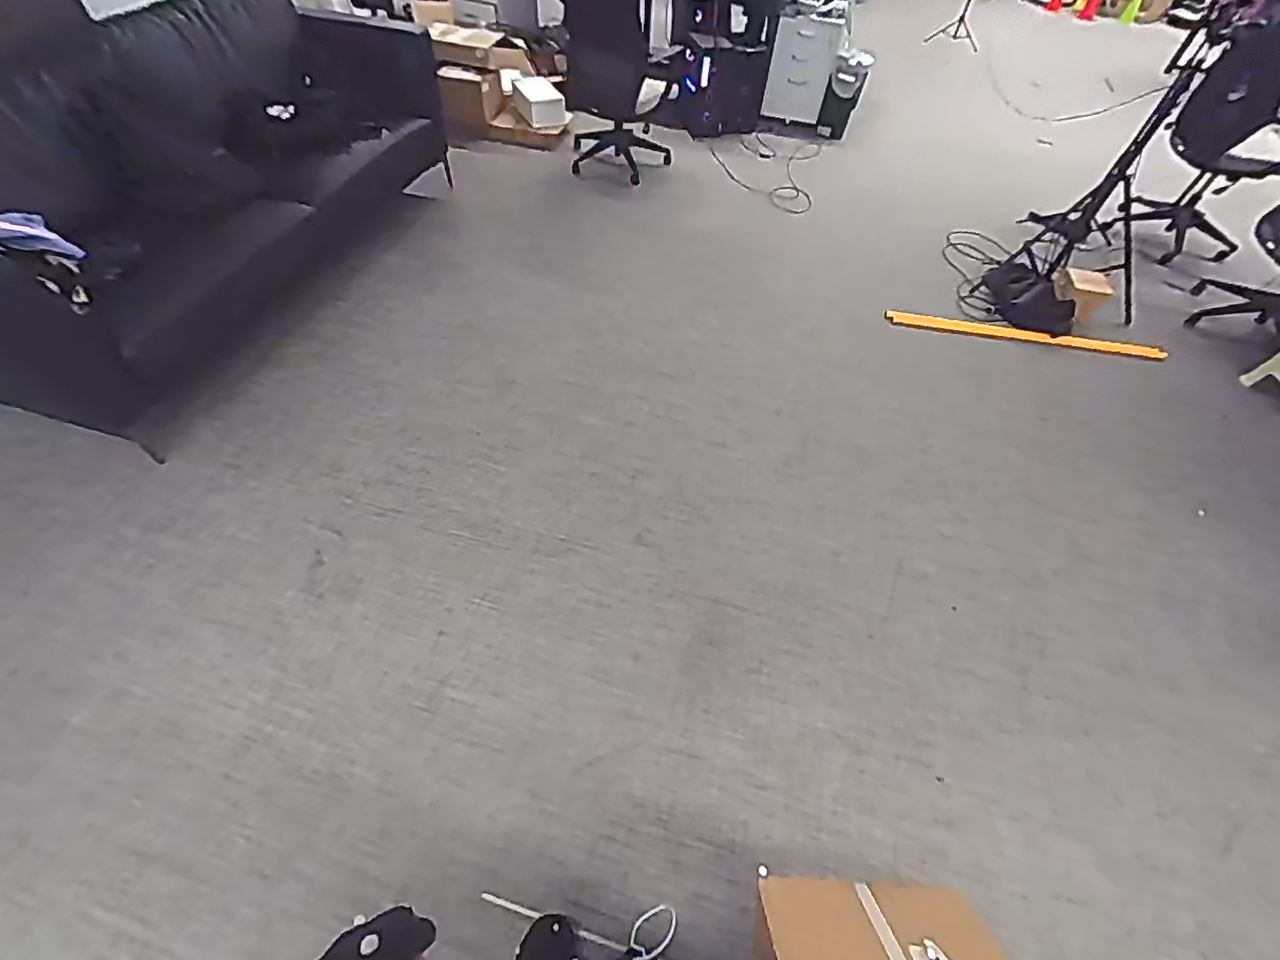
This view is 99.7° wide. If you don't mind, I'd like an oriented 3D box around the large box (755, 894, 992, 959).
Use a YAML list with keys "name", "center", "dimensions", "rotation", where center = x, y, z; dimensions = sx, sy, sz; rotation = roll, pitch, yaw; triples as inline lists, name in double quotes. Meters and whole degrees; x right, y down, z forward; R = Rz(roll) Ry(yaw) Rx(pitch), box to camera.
- name: "large box"
  center: [0.325, 0.803, 0.641]
  dimensions: [0.320, 0.408, 0.320]
  rotation: [4, 90, 1]
